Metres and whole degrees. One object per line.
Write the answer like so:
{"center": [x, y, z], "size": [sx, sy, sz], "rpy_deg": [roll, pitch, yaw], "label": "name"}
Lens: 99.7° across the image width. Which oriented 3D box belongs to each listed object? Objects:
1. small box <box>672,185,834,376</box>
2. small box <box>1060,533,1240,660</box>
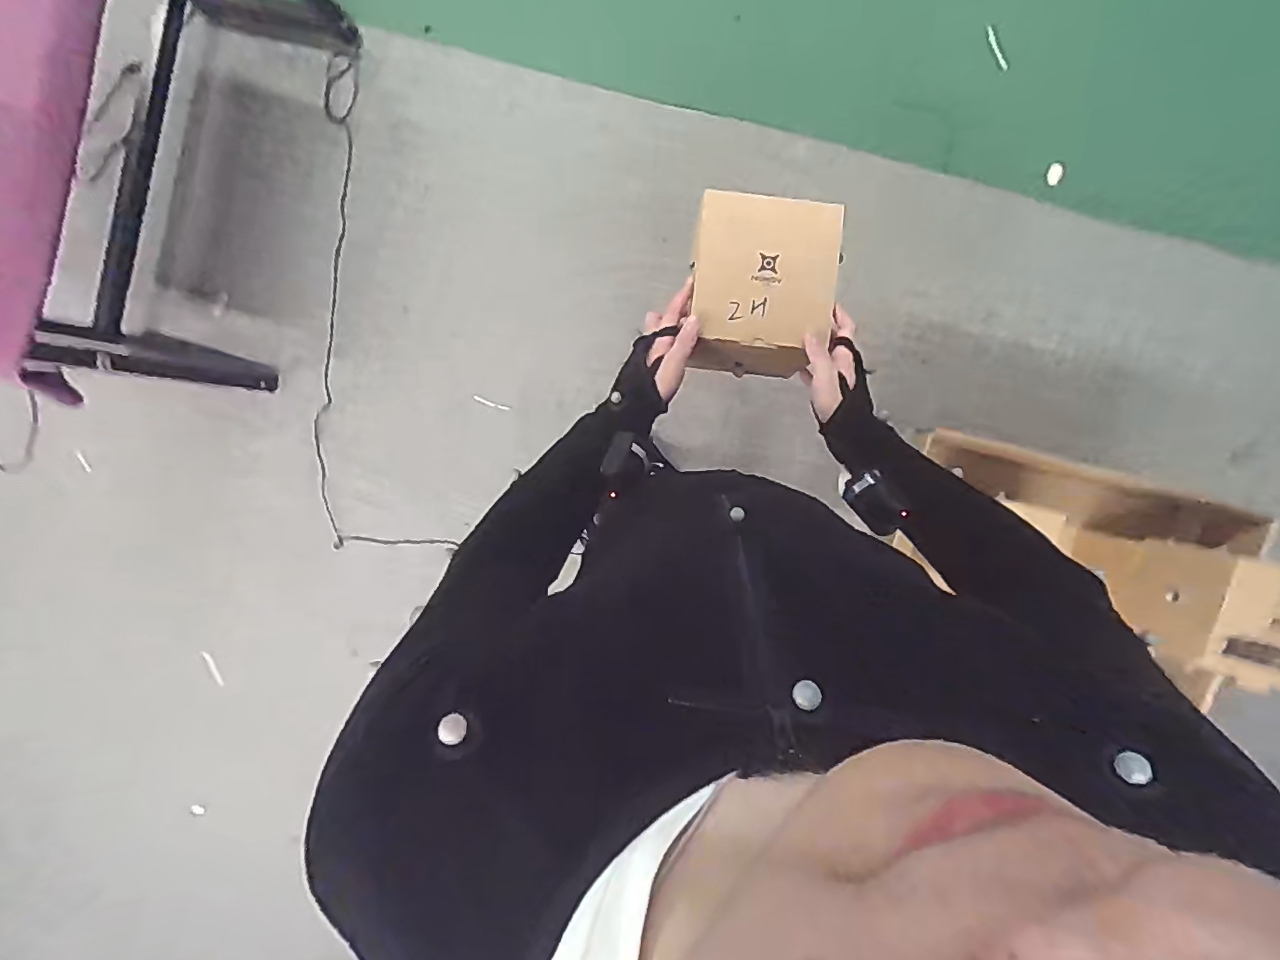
{"center": [0.133, -0.244, 0.700], "size": [0.168, 0.176, 0.179], "rpy_deg": [6, 91, 0], "label": "small box"}
{"center": [0.952, 0.210, 1.030], "size": [0.168, 0.176, 0.179], "rpy_deg": [12, 96, 5], "label": "small box"}
